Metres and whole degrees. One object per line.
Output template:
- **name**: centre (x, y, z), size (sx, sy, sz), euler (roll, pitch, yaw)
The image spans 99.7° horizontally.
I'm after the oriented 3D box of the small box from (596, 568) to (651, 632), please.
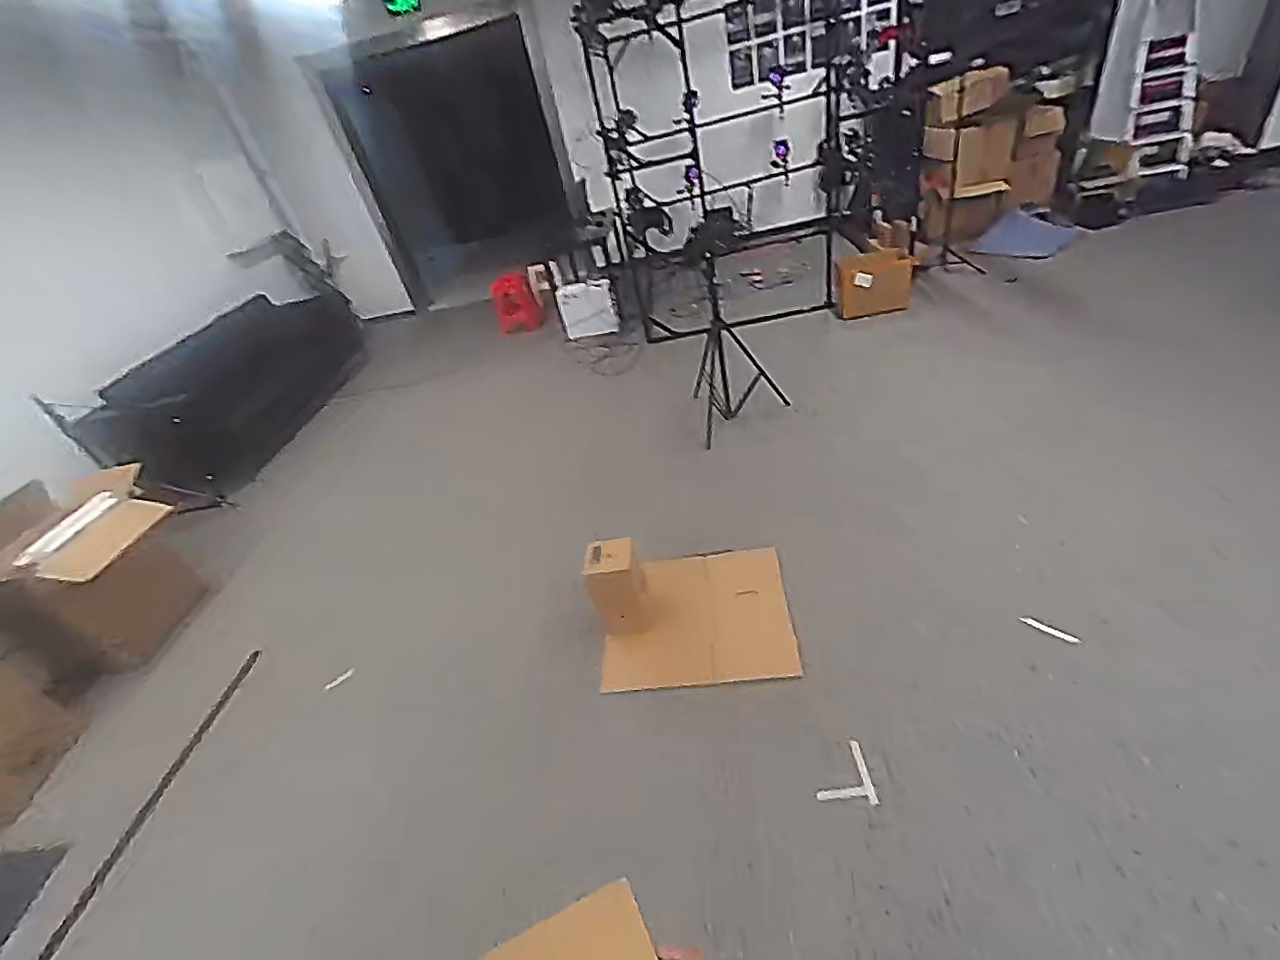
- **small box**: centre (-0.055, 0.465, 2.086), size (0.179, 0.176, 0.168), euler (-9, 35, 10)
